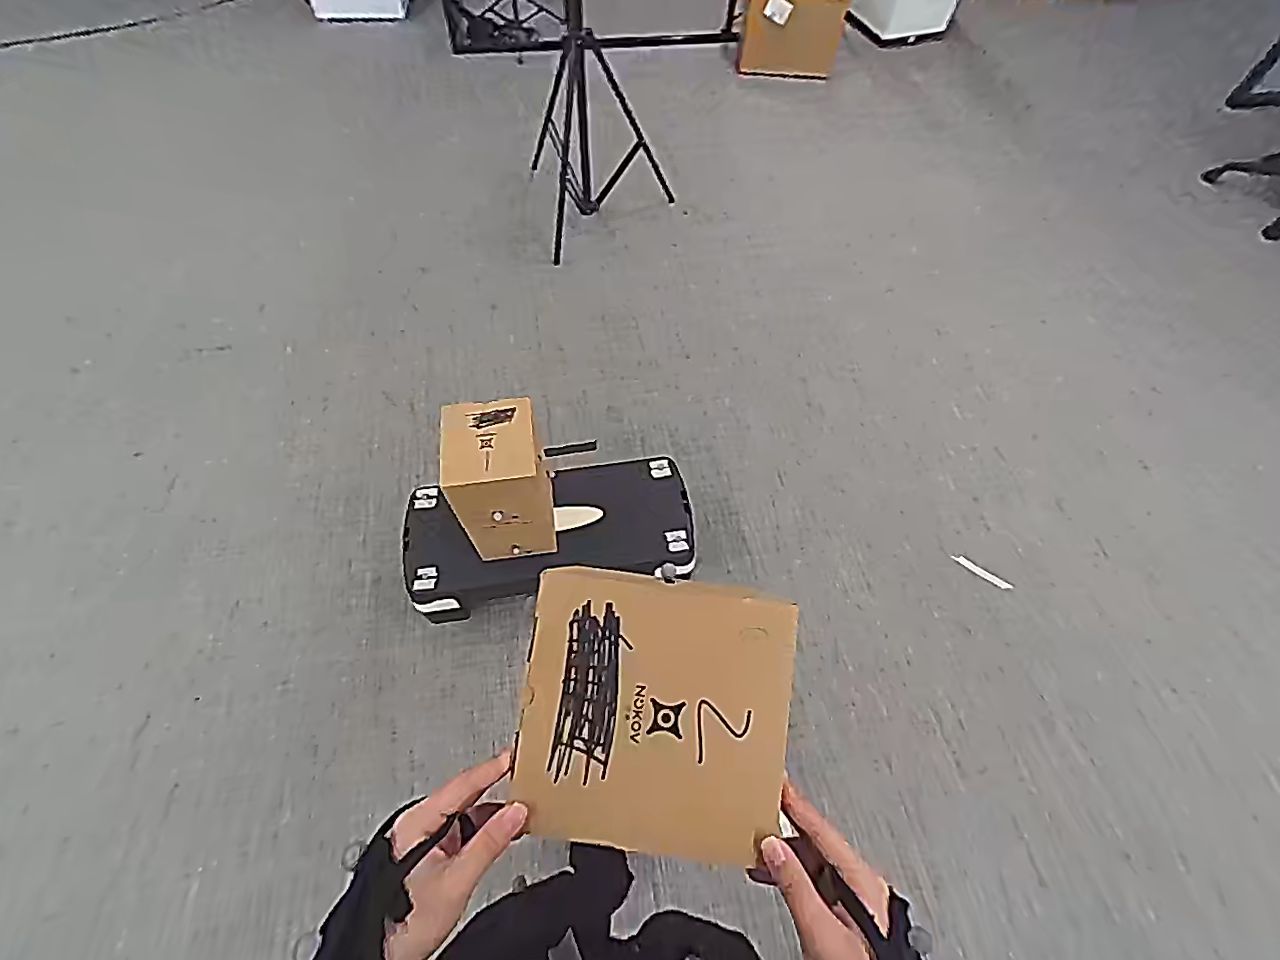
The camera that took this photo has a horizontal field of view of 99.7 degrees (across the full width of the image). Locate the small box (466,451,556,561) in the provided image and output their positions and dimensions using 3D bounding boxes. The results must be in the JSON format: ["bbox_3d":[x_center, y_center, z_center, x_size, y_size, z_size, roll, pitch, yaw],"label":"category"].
[{"bbox_3d":[-0.277,0.059,1.181,0.168,0.176,0.179,-6,61,-5],"label":"small box"}]

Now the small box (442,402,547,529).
[{"bbox_3d":[-0.274,-0.026,1.041,0.168,0.176,0.179,-7,61,-6],"label":"small box"}]

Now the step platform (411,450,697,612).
[{"bbox_3d":[-0.204,0.120,1.350,0.684,0.204,0.286,-8,60,-6],"label":"step platform"}]
